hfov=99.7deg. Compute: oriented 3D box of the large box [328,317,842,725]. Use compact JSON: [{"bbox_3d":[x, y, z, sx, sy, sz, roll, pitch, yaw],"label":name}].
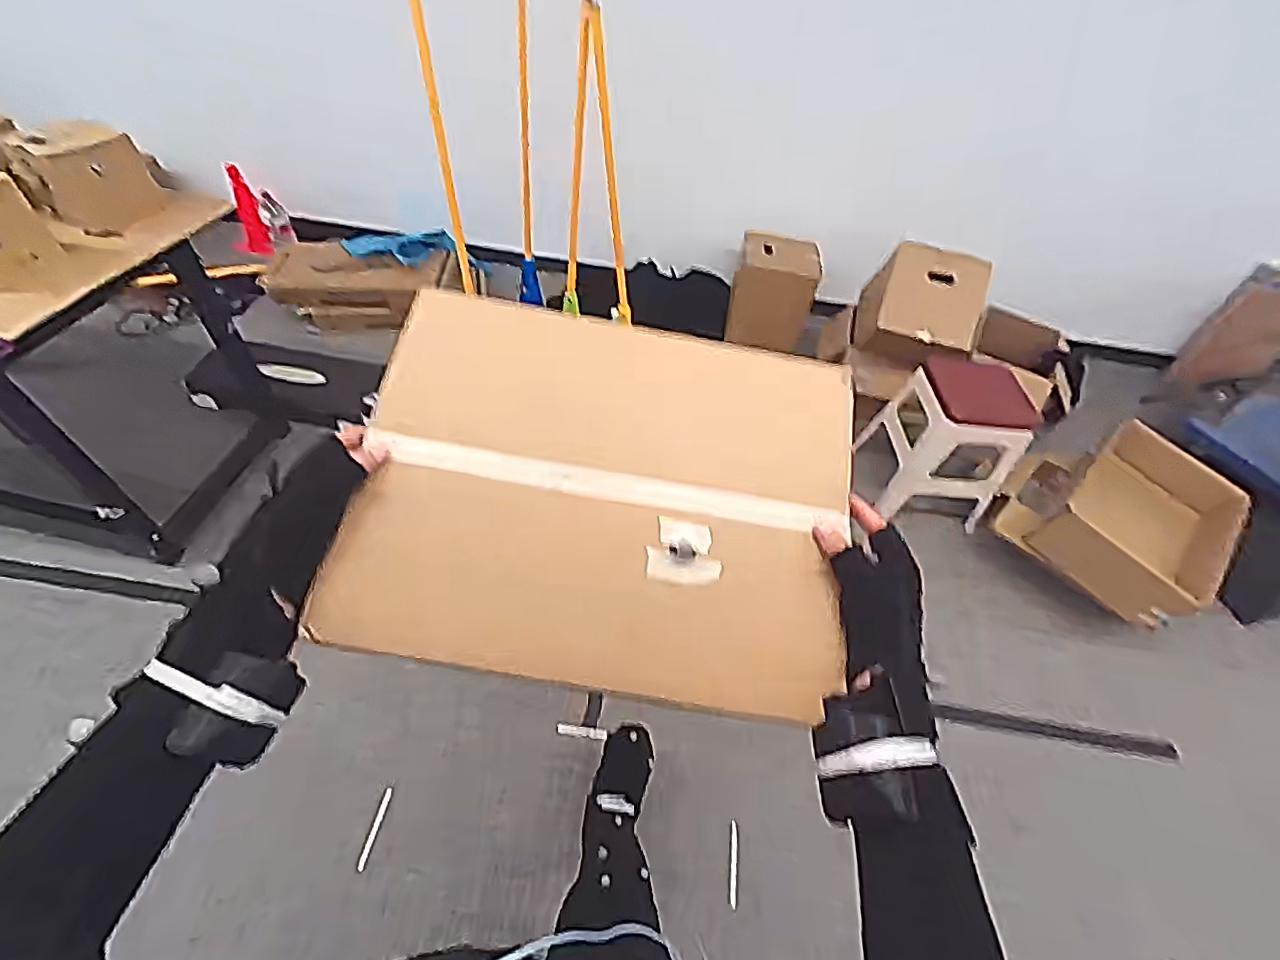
[{"bbox_3d":[-0.037,0.070,0.605,0.408,0.320,0.320,11,70,-3],"label":"large box"}]
